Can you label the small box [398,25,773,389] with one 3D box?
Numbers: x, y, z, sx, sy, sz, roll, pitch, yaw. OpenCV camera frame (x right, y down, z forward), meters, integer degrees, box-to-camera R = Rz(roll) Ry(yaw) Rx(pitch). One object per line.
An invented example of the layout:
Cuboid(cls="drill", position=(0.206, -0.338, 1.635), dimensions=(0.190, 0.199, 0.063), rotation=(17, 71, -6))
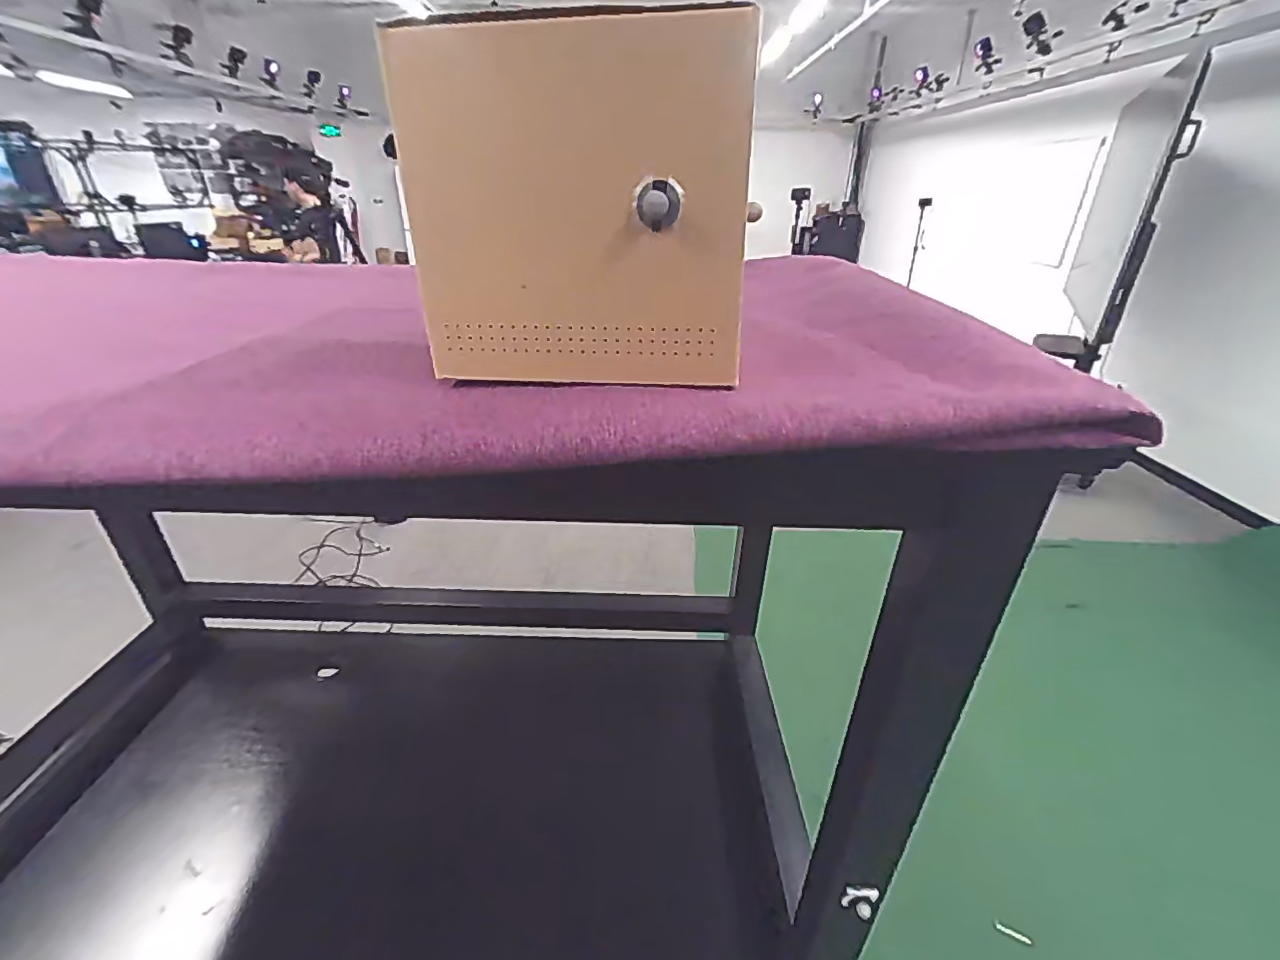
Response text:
Cuboid(cls="small box", position=(-0.019, -0.158, 0.348), dimensions=(0.179, 0.176, 0.168), rotation=(2, 25, 6))
